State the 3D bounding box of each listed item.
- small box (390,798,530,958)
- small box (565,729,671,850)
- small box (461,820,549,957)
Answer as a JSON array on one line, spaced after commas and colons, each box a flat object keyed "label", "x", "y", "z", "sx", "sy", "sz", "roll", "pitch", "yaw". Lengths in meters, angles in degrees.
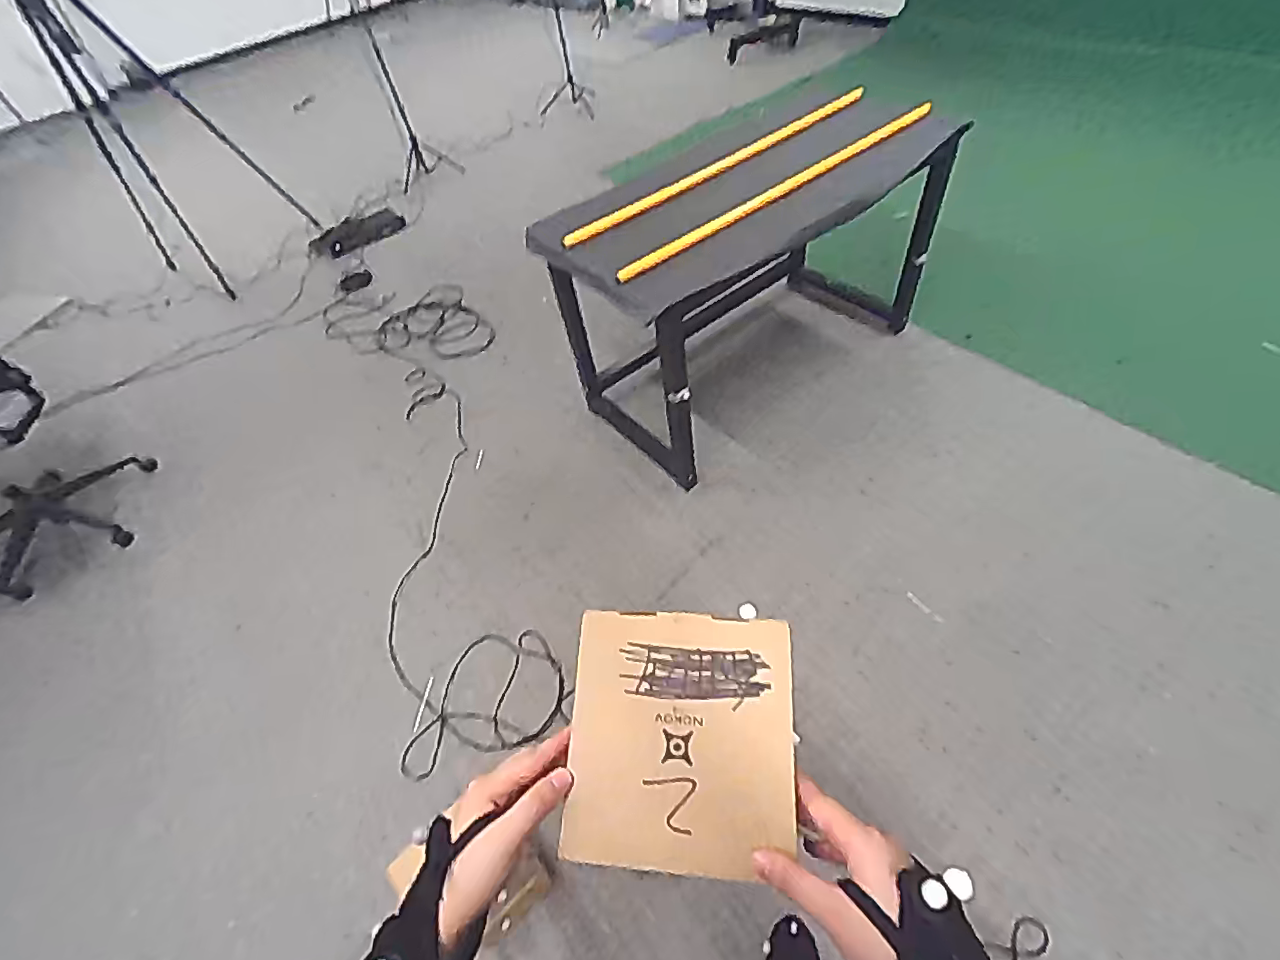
[{"label": "small box", "x": -0.329, "y": 0.749, "z": 1.030, "sx": 0.179, "sy": 0.176, "sz": 0.168, "roll": -40, "pitch": 57, "yaw": -20}, {"label": "small box", "x": -0.043, "y": 0.706, "z": 1.228, "sx": 0.168, "sy": 0.176, "sz": 0.179, "roll": -31, "pitch": 53, "yaw": -15}, {"label": "small box", "x": -0.312, "y": 0.857, "z": 1.154, "sx": 0.179, "sy": 0.176, "sz": 0.168, "roll": -39, "pitch": 57, "yaw": -19}]
